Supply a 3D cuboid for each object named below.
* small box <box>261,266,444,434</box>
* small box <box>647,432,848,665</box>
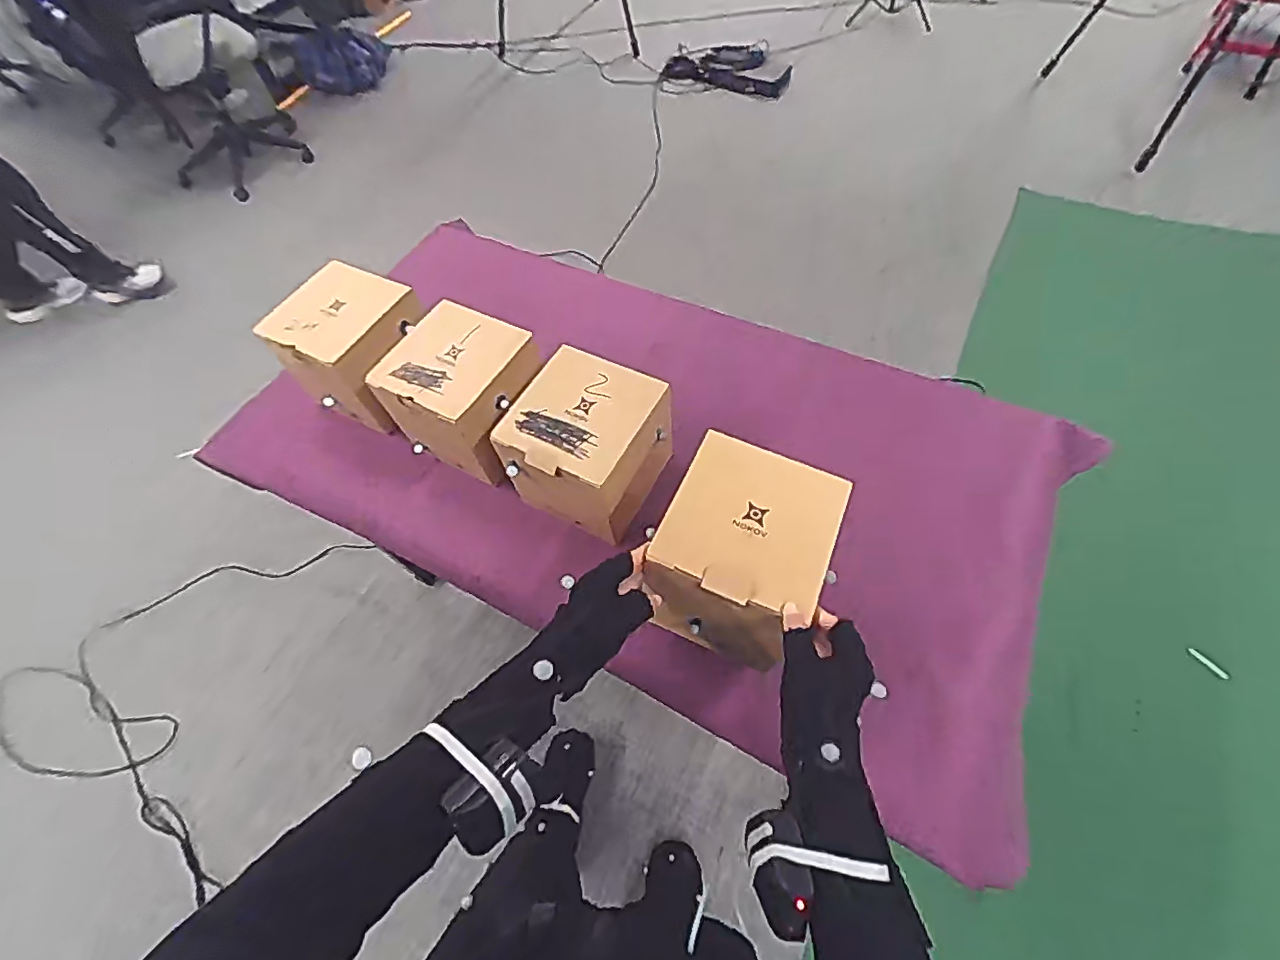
[{"bbox_3d":[-0.448,-0.209,0.882,0.168,0.176,0.179,23,64,17],"label":"small box"},{"bbox_3d":[0.112,0.082,0.620,0.168,0.176,0.179,22,59,13],"label":"small box"}]
